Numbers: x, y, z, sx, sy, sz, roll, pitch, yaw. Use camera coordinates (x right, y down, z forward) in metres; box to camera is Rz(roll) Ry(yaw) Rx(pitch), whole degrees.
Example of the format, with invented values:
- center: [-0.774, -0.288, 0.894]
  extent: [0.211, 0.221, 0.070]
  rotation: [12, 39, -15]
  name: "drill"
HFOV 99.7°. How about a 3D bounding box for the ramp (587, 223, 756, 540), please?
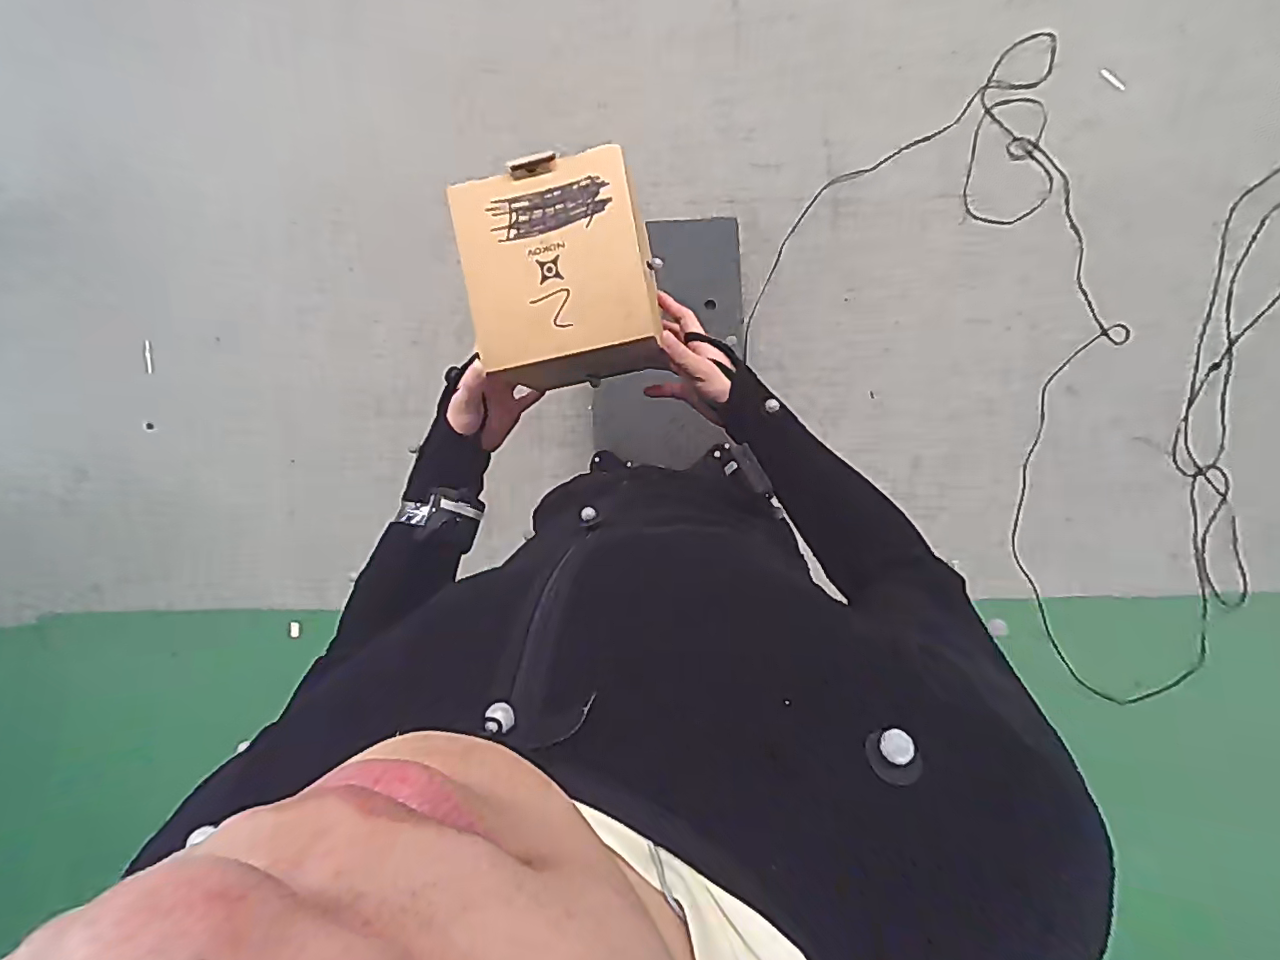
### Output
- center: [0.089, -0.319, 1.697]
  extent: [0.509, 0.206, 0.991]
  rotation: [-4, 94, 2]
  name: "ramp"
